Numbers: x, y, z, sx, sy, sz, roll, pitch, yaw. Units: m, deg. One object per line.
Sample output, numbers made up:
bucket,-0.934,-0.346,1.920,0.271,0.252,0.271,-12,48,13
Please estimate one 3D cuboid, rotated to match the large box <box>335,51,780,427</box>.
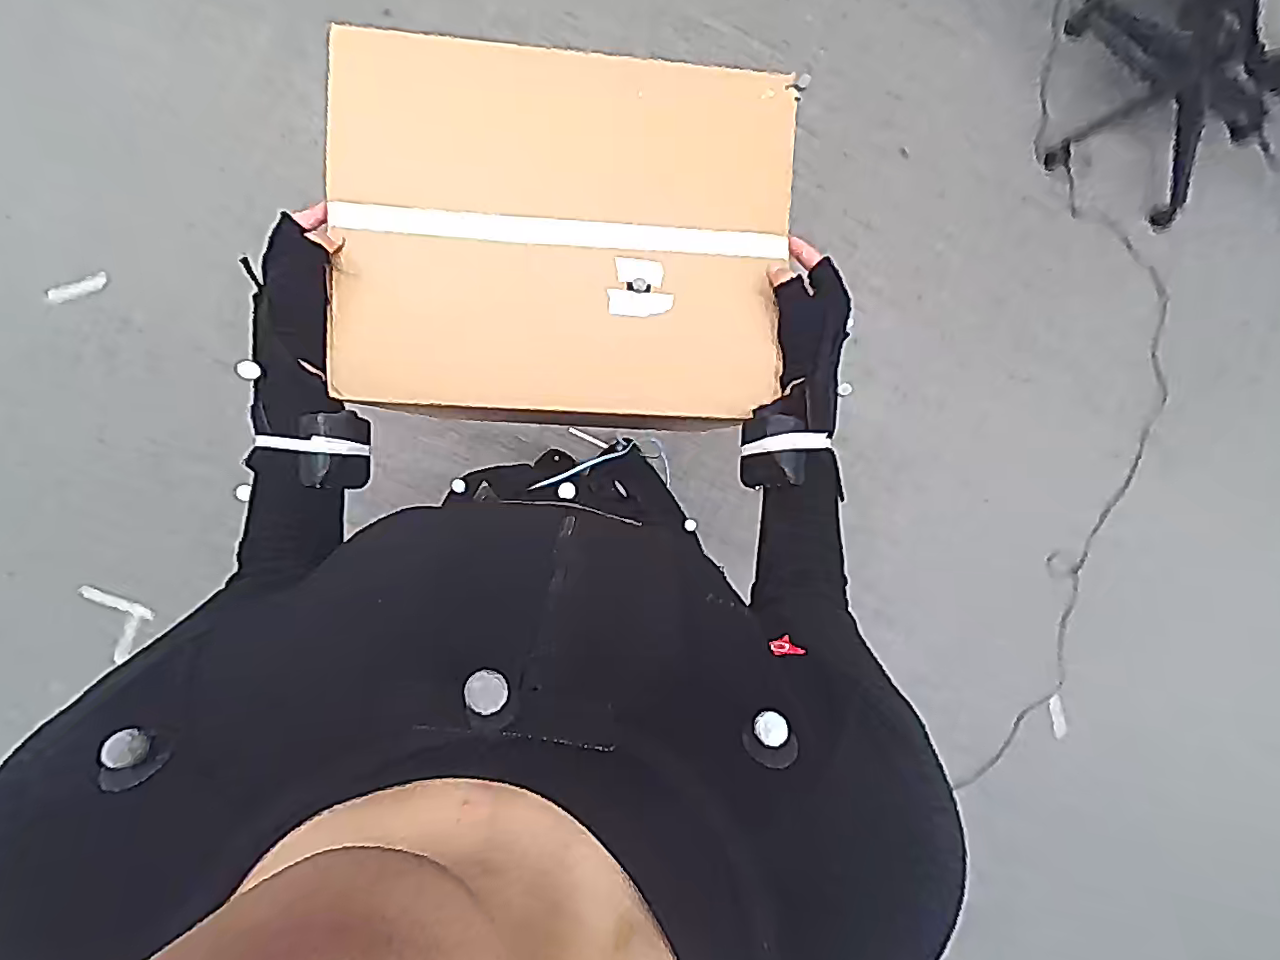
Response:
large box,-0.085,-0.225,0.641,0.408,0.320,0.320,1,94,-6
